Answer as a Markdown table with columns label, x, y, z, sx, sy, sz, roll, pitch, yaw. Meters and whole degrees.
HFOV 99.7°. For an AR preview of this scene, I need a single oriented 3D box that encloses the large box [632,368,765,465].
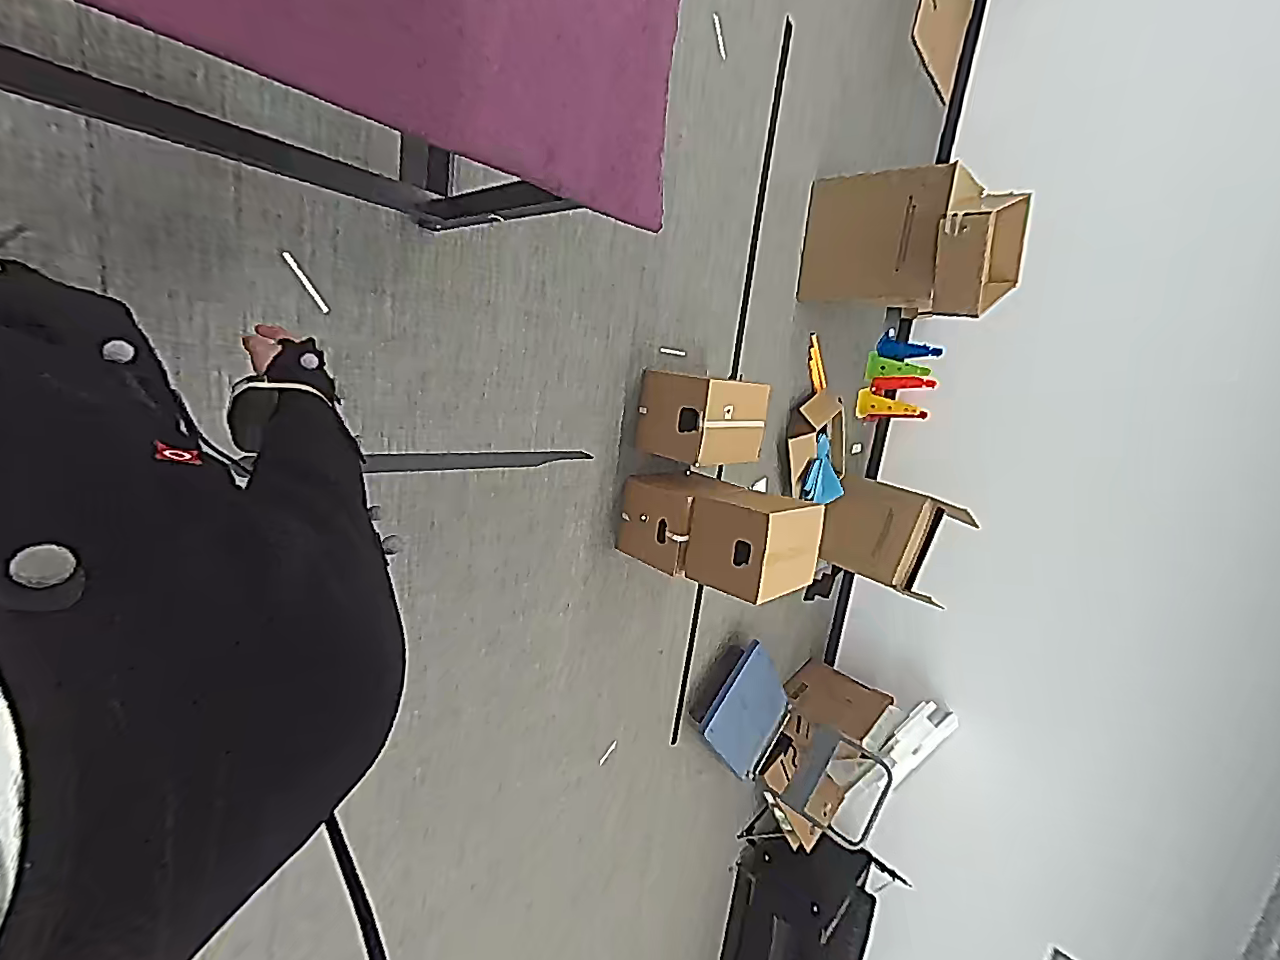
| label | x | y | z | sx | sy | sz | roll | pitch | yaw |
| --- | --- | --- | --- | --- | --- | --- | --- | --- | --- |
| large box | 0.228 | -0.255 | 2.100 | 0.408 | 0.320 | 0.320 | -7 | 109 | -46 |
